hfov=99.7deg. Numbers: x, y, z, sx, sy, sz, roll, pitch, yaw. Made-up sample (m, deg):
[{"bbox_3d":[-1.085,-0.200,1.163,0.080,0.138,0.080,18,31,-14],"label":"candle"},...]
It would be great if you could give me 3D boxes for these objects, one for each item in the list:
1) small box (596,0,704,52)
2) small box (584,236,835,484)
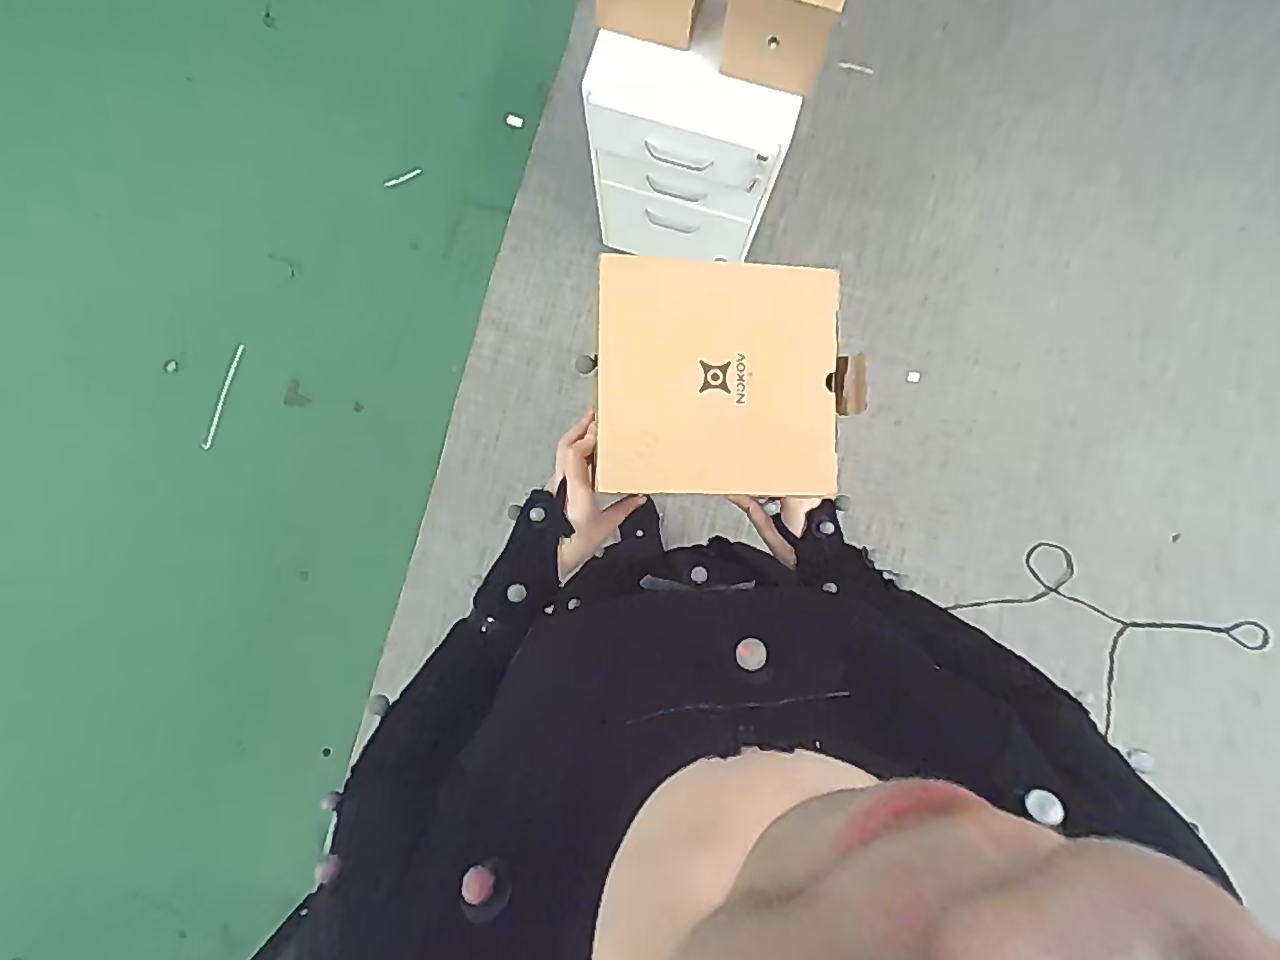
[{"bbox_3d":[0.023,-0.888,0.926,0.179,0.176,0.168,15,85,1],"label":"small box"},{"bbox_3d":[0.043,-0.082,0.457,0.179,0.176,0.168,1,89,-9],"label":"small box"}]
